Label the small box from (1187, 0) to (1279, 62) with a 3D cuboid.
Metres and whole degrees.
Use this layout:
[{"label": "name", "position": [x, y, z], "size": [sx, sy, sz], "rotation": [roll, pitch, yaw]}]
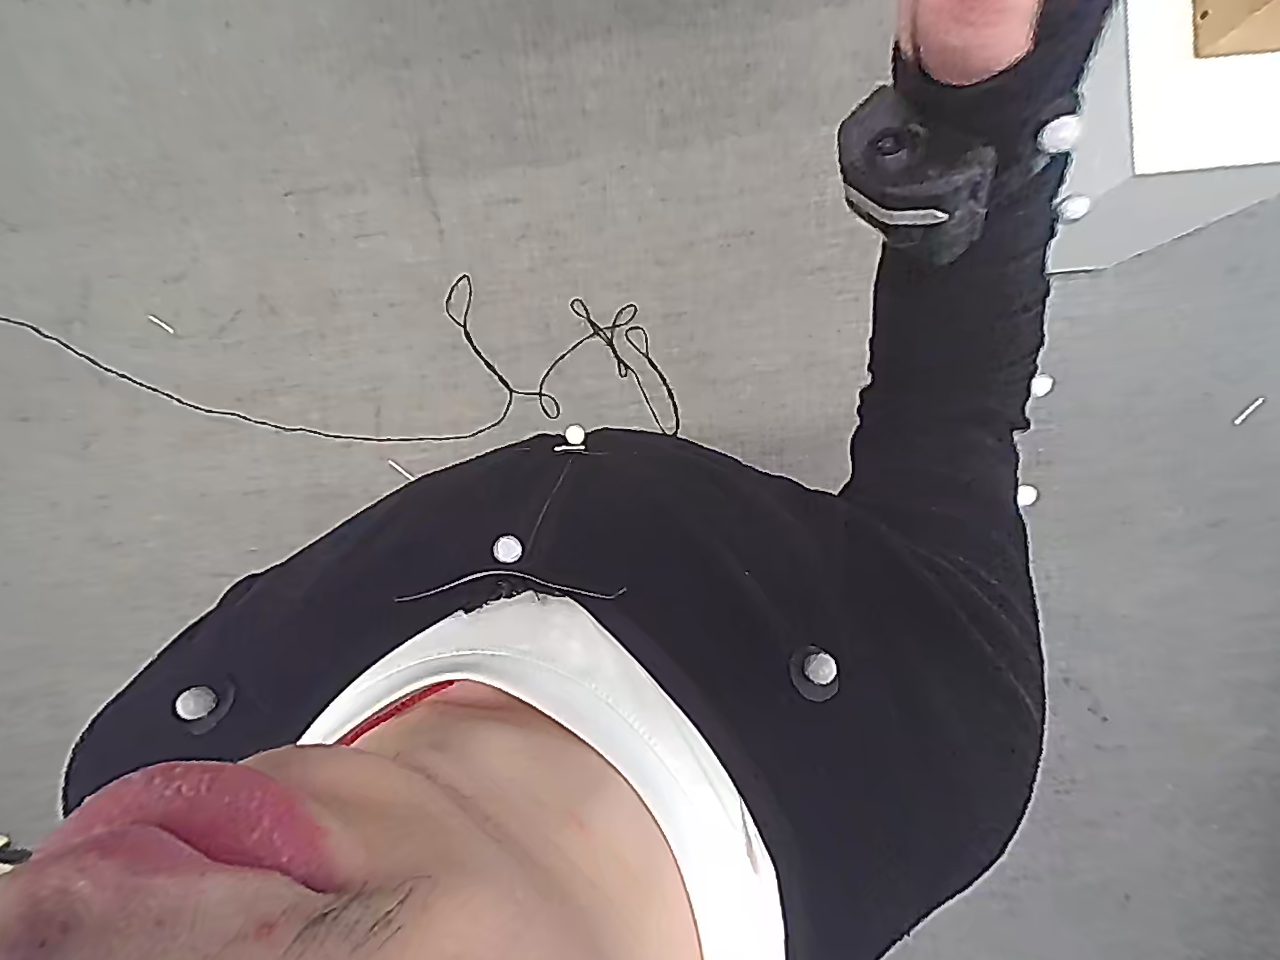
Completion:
[{"label": "small box", "position": [1.029, -0.809, 0.858], "size": [0.179, 0.176, 0.168], "rotation": [-6, 91, 1]}]
